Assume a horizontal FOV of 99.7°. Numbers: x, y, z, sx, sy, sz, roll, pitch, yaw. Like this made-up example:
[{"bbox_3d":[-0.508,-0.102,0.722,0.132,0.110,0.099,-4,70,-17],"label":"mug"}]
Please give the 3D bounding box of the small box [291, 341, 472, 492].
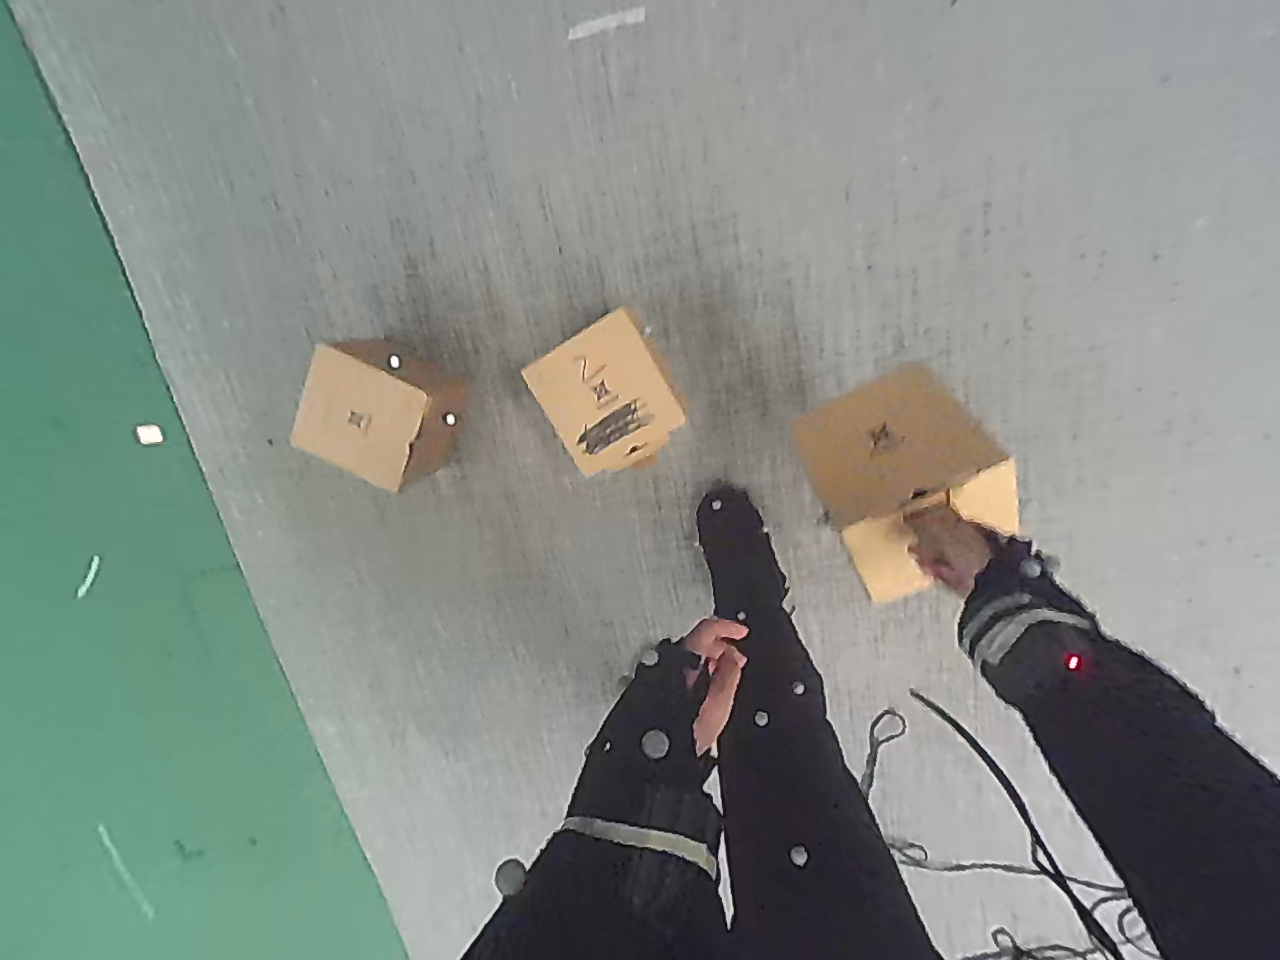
[{"bbox_3d":[-0.391,-0.109,0.846,0.179,0.176,0.168,26,106,-1],"label":"small box"}]
